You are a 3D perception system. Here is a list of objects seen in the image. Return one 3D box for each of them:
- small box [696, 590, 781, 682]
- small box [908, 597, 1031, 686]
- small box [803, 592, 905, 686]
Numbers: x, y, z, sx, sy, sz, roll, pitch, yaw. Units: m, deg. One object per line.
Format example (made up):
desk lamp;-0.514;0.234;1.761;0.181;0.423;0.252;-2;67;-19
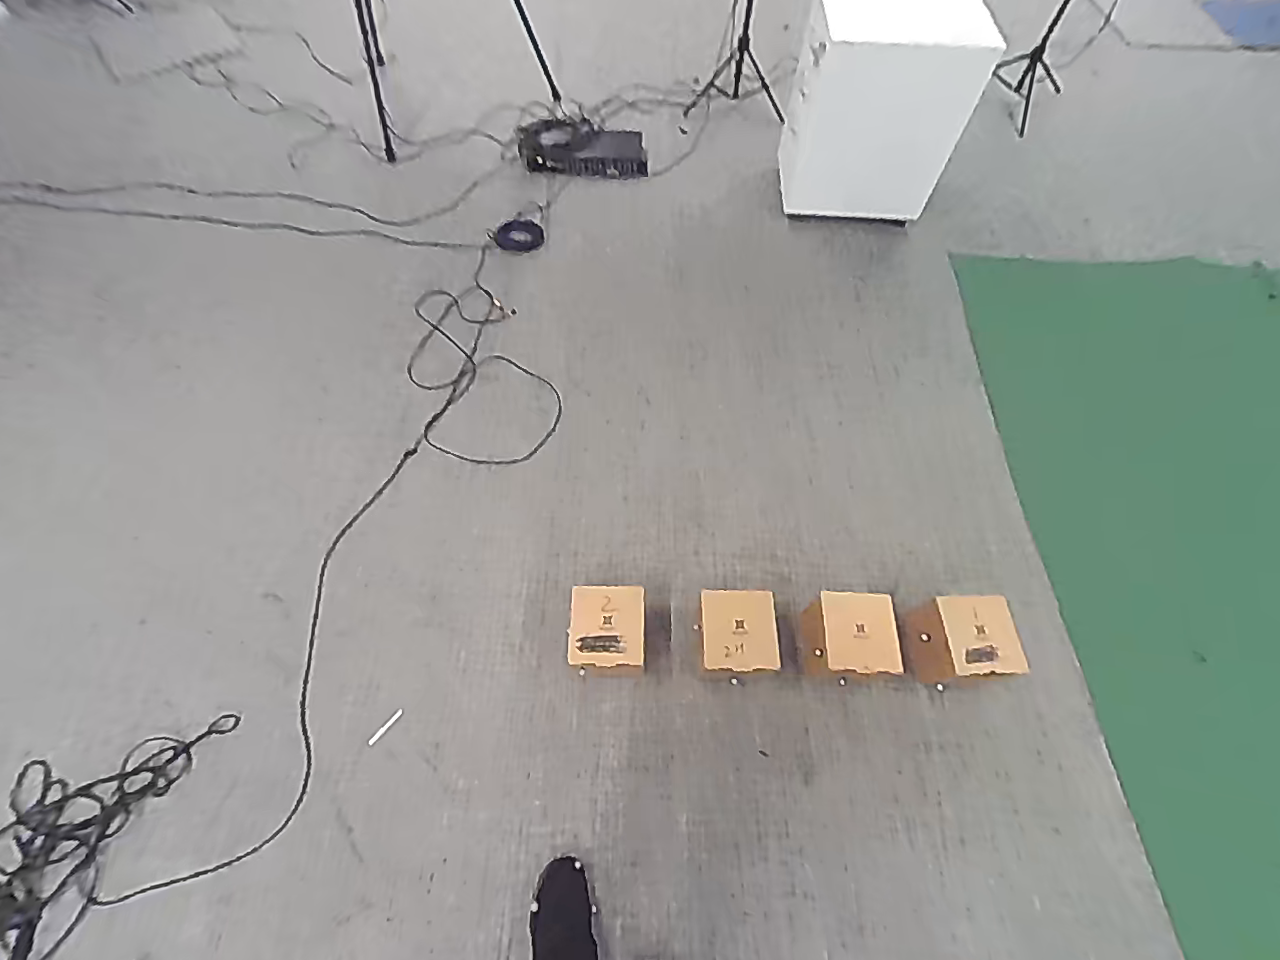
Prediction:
small box;0.222;0.368;1.266;0.168;0.176;0.179;1;62;1
small box;0.760;0.383;1.268;0.168;0.176;0.179;0;61;-1
small box;0.491;0.376;1.269;0.168;0.176;0.179;3;62;0
